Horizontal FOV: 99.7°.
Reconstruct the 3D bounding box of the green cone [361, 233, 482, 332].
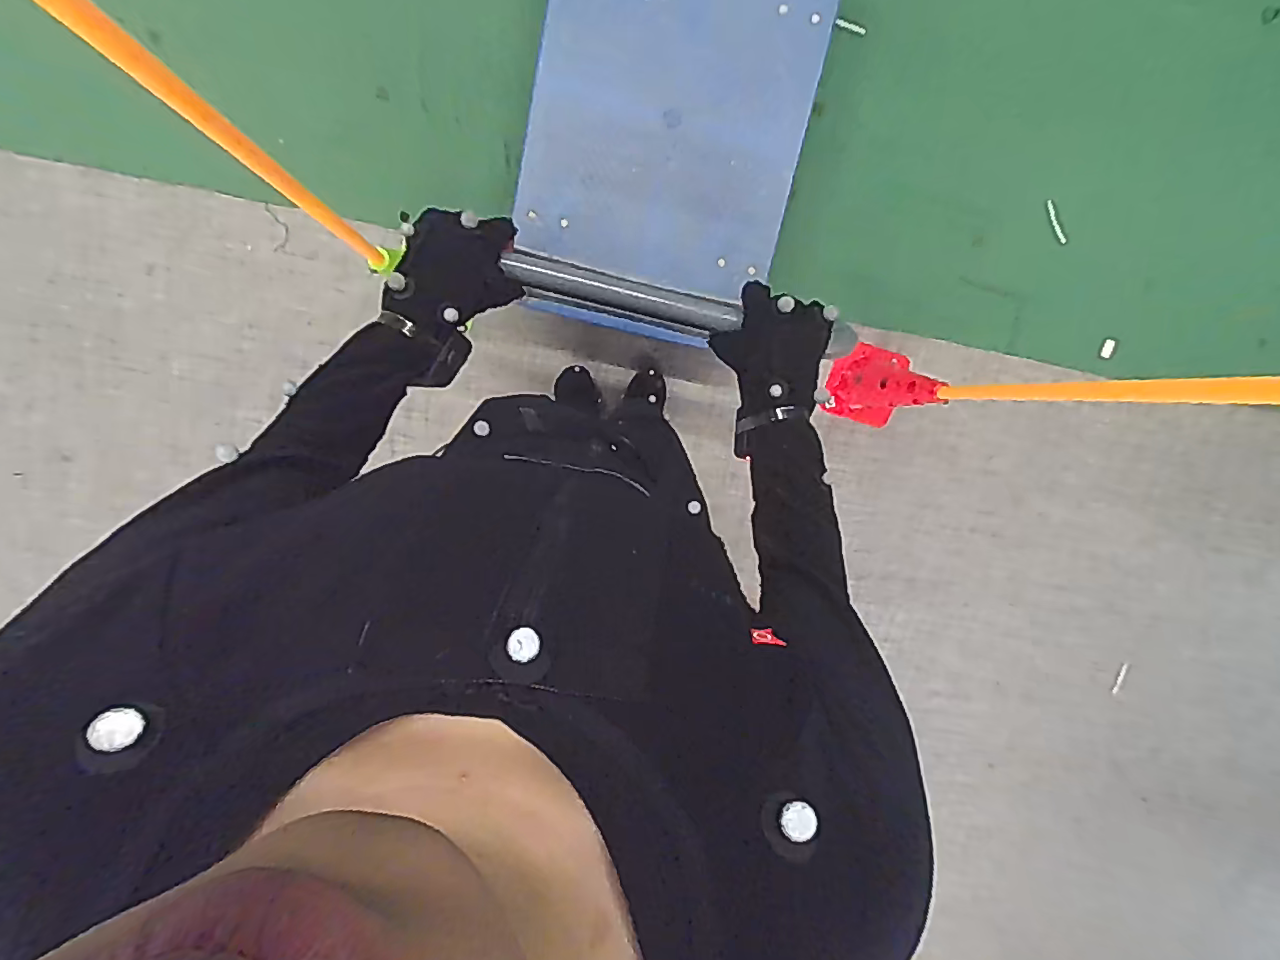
[{"bbox_3d":[-0.500,-0.455,1.177,0.202,0.368,0.200,15,101,-5],"label":"green cone"}]
